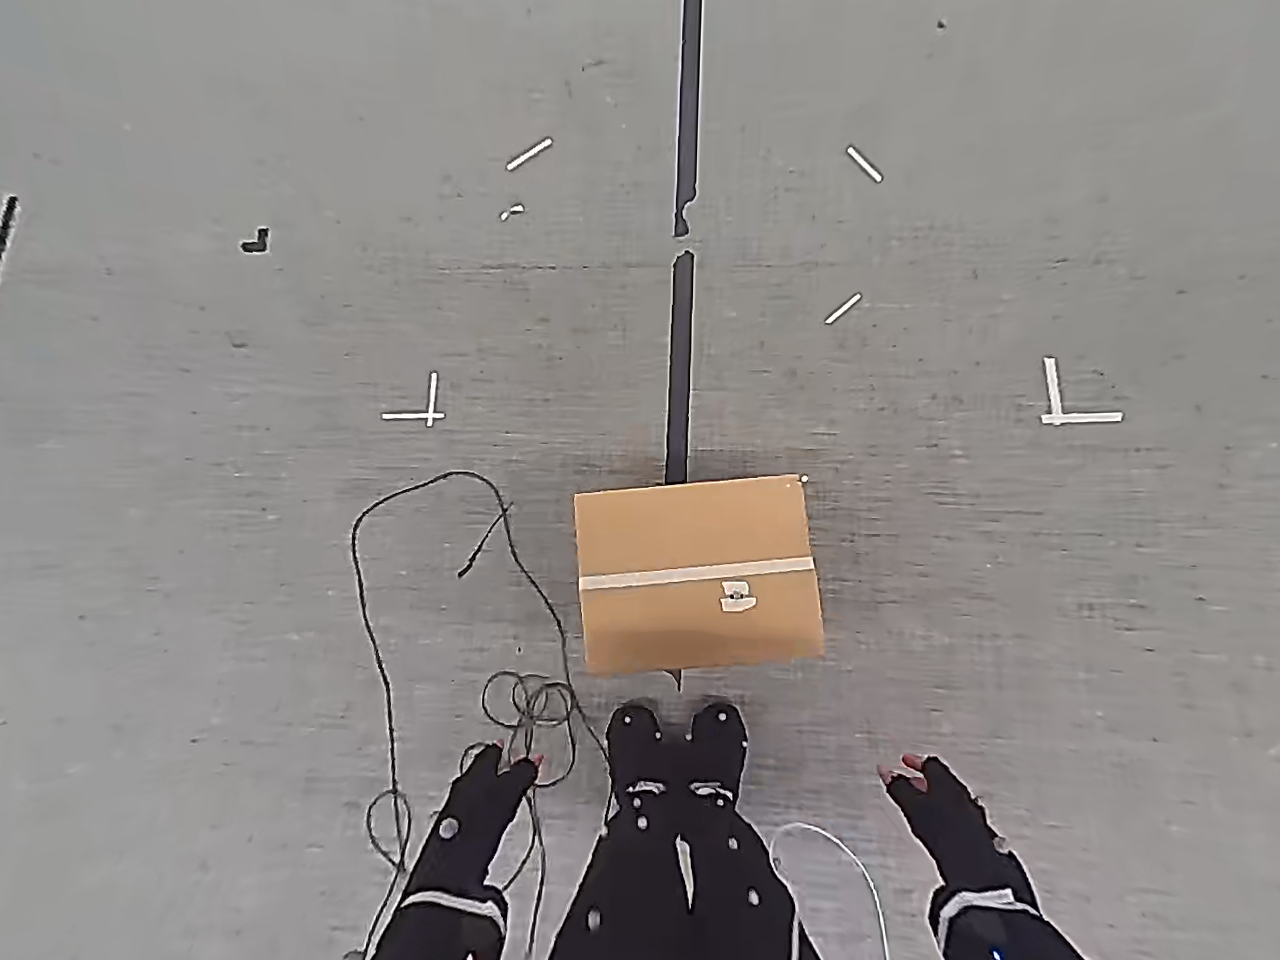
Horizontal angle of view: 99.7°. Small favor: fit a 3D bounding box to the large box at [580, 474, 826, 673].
[{"bbox_3d":[0.109,0.186,1.084,0.408,0.320,0.320,-5,80,2],"label":"large box"}]
